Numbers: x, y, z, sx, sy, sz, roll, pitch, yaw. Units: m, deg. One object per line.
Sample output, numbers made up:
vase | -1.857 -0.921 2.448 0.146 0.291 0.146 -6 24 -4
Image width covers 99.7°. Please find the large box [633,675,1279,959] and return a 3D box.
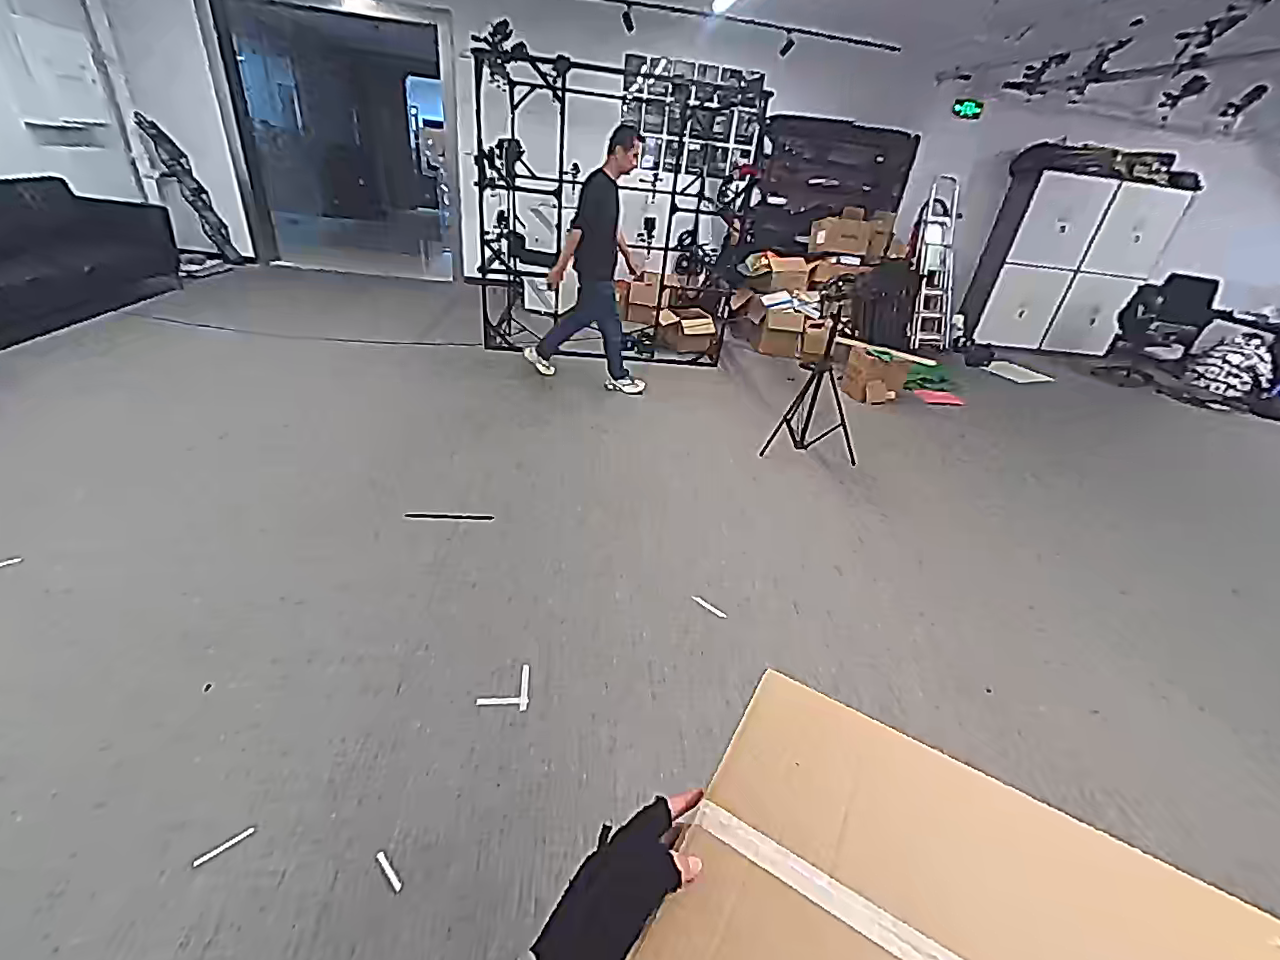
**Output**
large box | 0.217 0.454 0.456 0.408 0.320 0.320 22 42 24
